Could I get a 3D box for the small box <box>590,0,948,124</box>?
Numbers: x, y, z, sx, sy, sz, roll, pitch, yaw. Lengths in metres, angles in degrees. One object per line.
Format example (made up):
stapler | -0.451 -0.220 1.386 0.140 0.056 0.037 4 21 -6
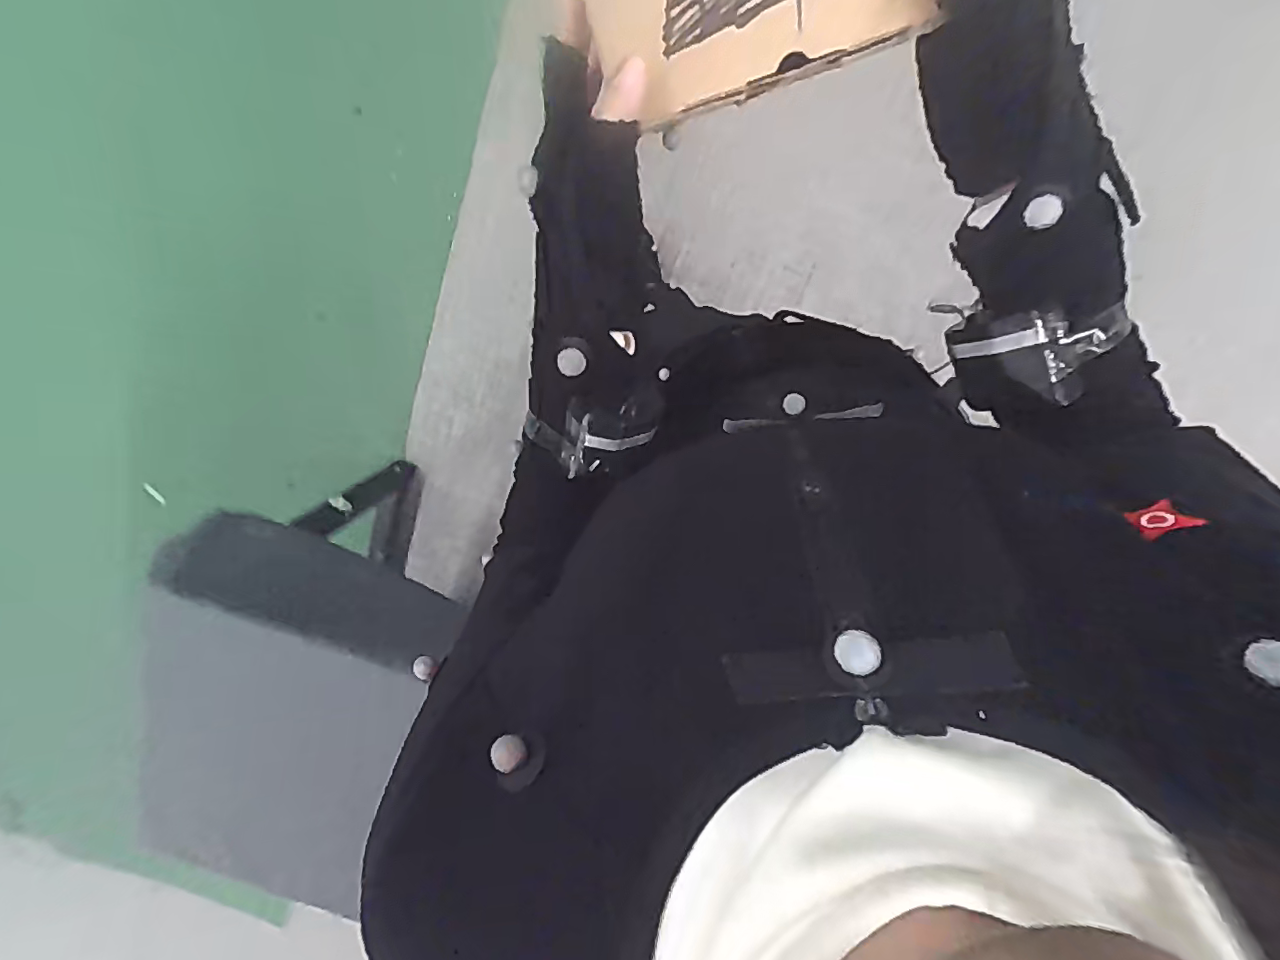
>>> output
small box | 0.044 -0.308 0.272 0.168 0.176 0.179 -16 121 10
